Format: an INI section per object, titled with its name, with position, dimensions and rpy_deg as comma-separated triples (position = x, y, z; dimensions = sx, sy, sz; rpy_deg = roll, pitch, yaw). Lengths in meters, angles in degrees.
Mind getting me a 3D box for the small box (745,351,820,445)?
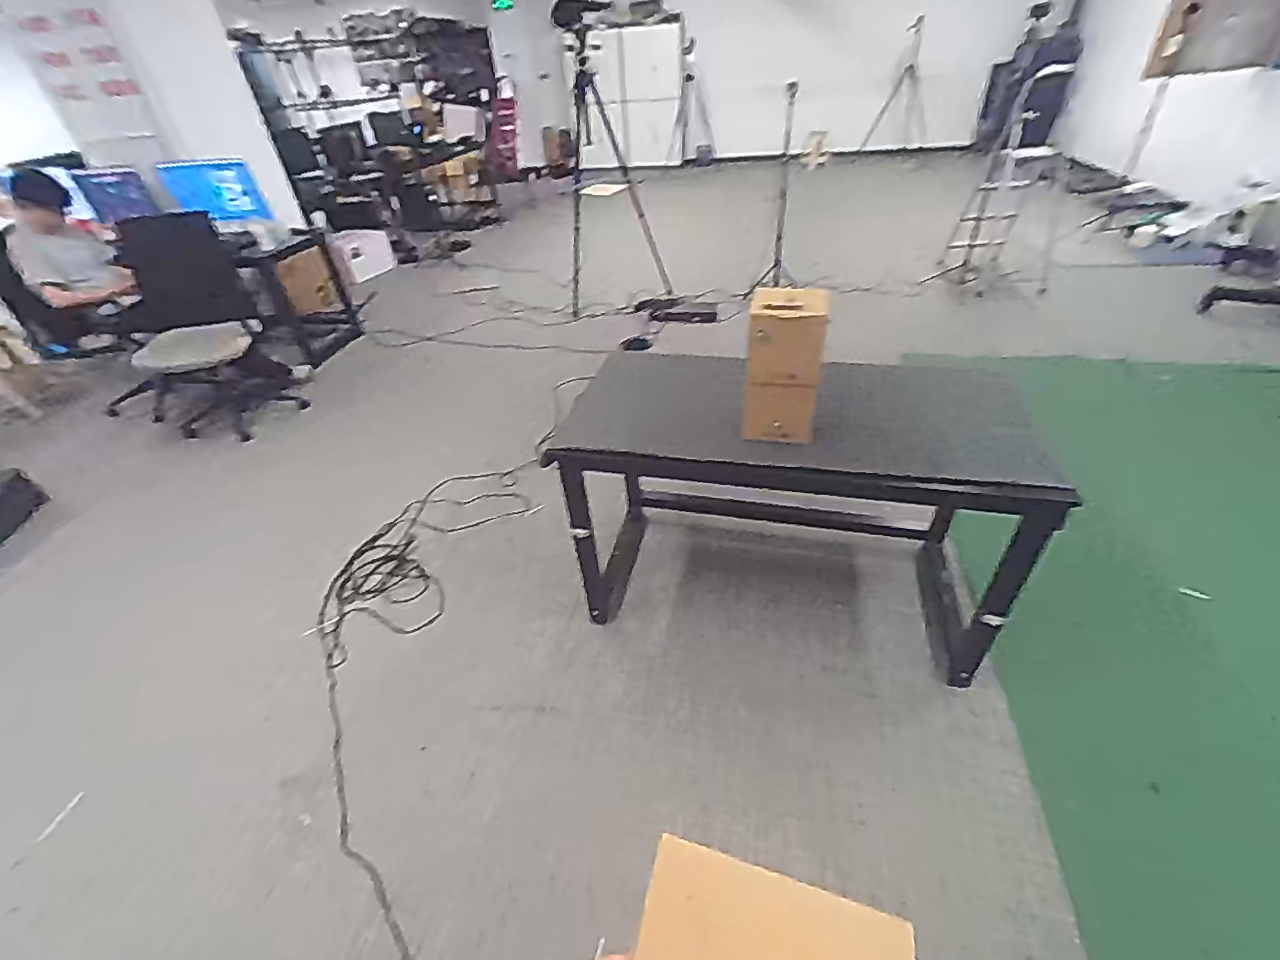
[small box]
position = 0.361, -0.211, 1.376
dimensions = 0.168, 0.176, 0.179
rpy_deg = 6, 38, 15
